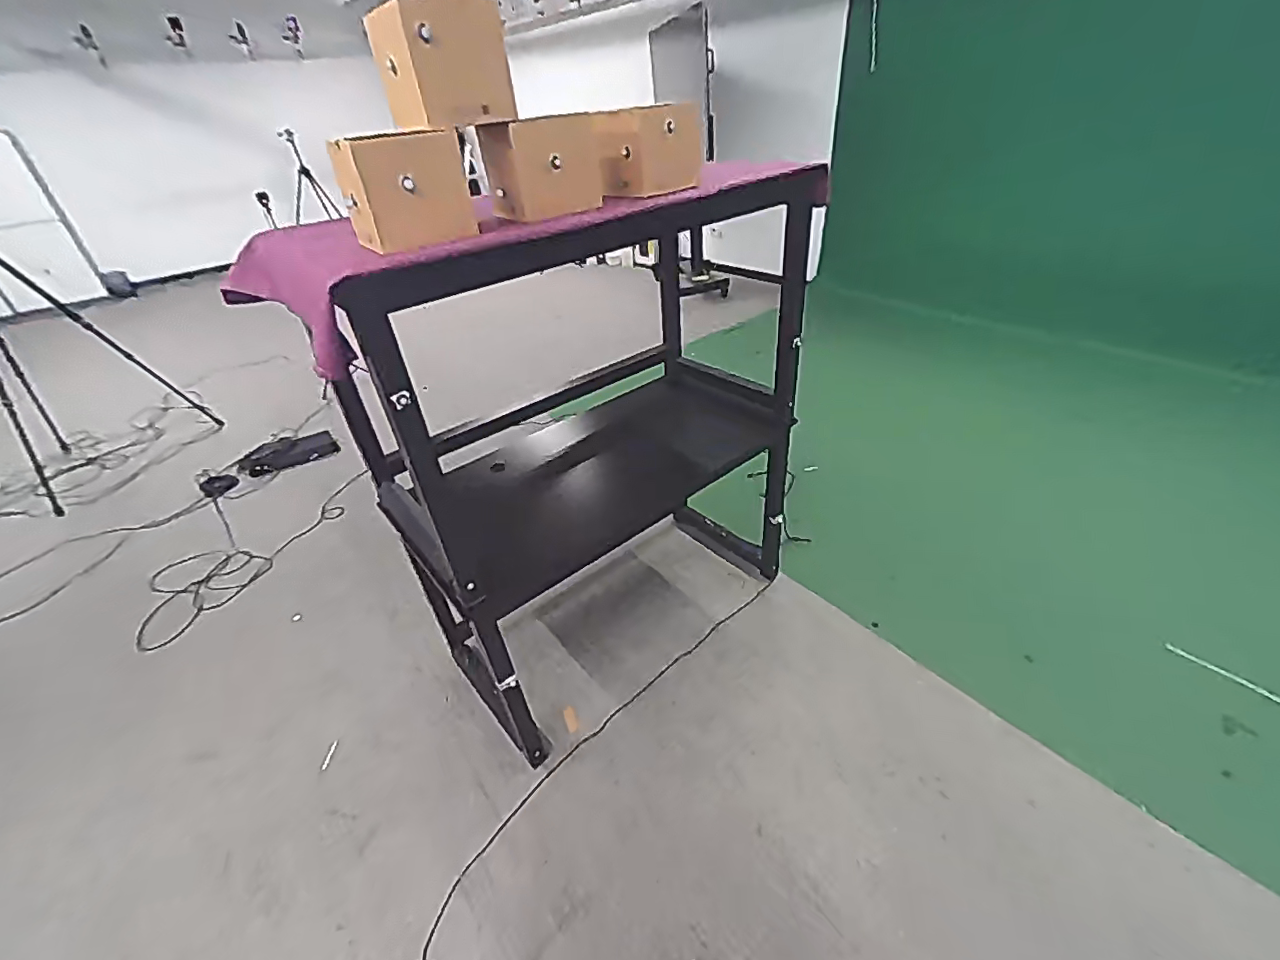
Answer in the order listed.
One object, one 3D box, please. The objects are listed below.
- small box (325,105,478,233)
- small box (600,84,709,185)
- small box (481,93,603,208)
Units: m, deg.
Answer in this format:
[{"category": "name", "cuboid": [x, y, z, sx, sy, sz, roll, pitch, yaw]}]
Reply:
[{"category": "small box", "cuboid": [-0.401, -0.531, 0.923, 0.179, 0.176, 0.168, -25, 41, -27]}, {"category": "small box", "cuboid": [0.037, -0.754, 1.185, 0.179, 0.176, 0.168, -27, 42, -28]}, {"category": "small box", "cuboid": [-0.185, -0.647, 1.058, 0.179, 0.176, 0.168, -26, 41, -25]}]
